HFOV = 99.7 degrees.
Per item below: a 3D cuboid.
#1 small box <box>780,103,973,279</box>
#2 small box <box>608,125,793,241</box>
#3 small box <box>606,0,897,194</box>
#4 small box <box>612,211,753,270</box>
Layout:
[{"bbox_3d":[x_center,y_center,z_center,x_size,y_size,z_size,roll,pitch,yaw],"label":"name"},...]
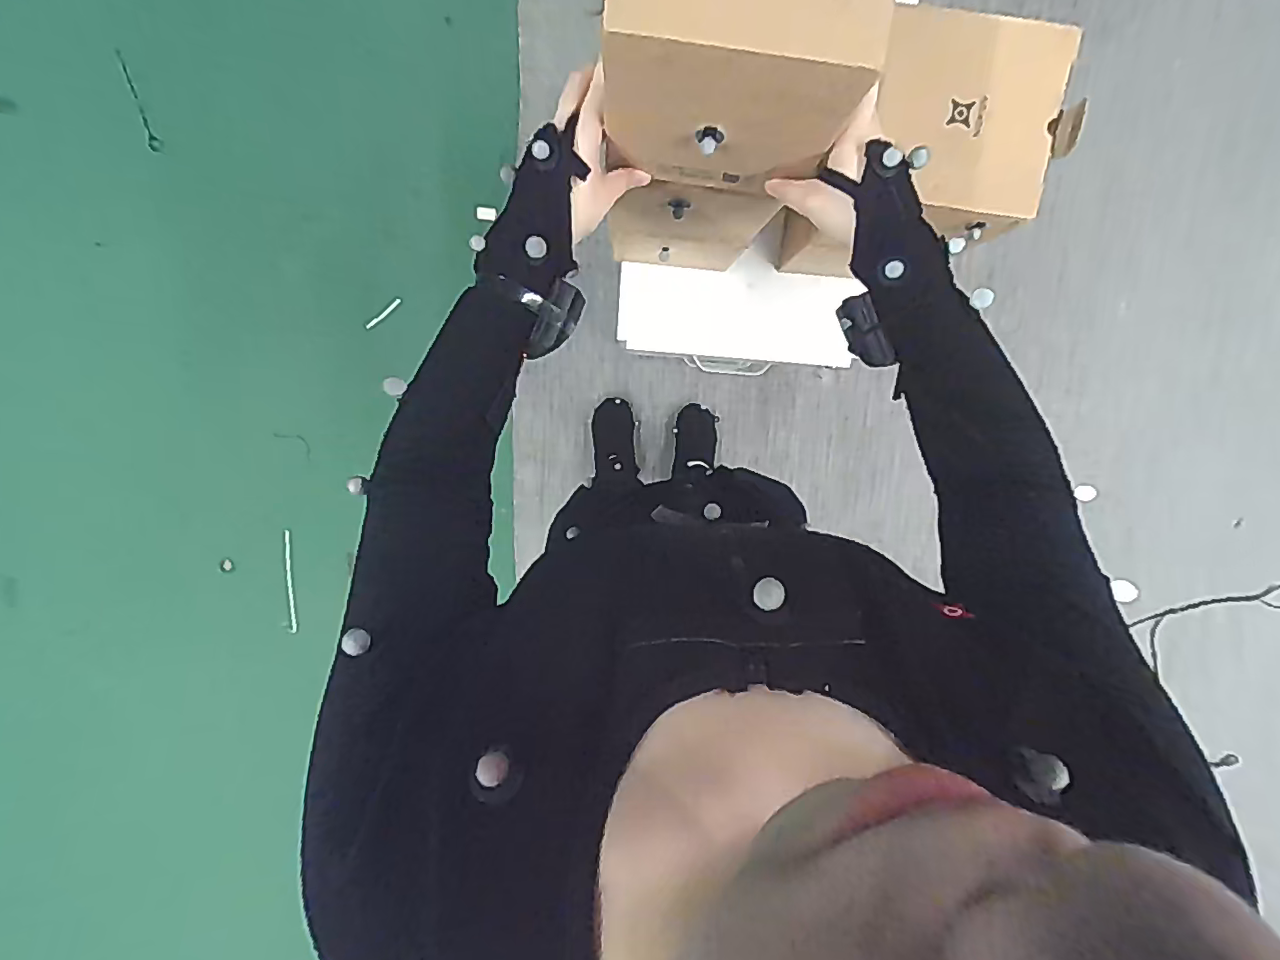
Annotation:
[{"bbox_3d":[0.306,-0.377,0.737,0.179,0.176,0.168,6,101,1],"label":"small box"},{"bbox_3d":[0.062,-0.363,0.570,0.179,0.176,0.168,4,101,-3],"label":"small box"},{"bbox_3d":[0.069,-0.332,0.383,0.168,0.176,0.179,7,94,-3],"label":"small box"},{"bbox_3d":[0.060,-0.391,0.732,0.179,0.176,0.168,5,102,-2],"label":"small box"}]
